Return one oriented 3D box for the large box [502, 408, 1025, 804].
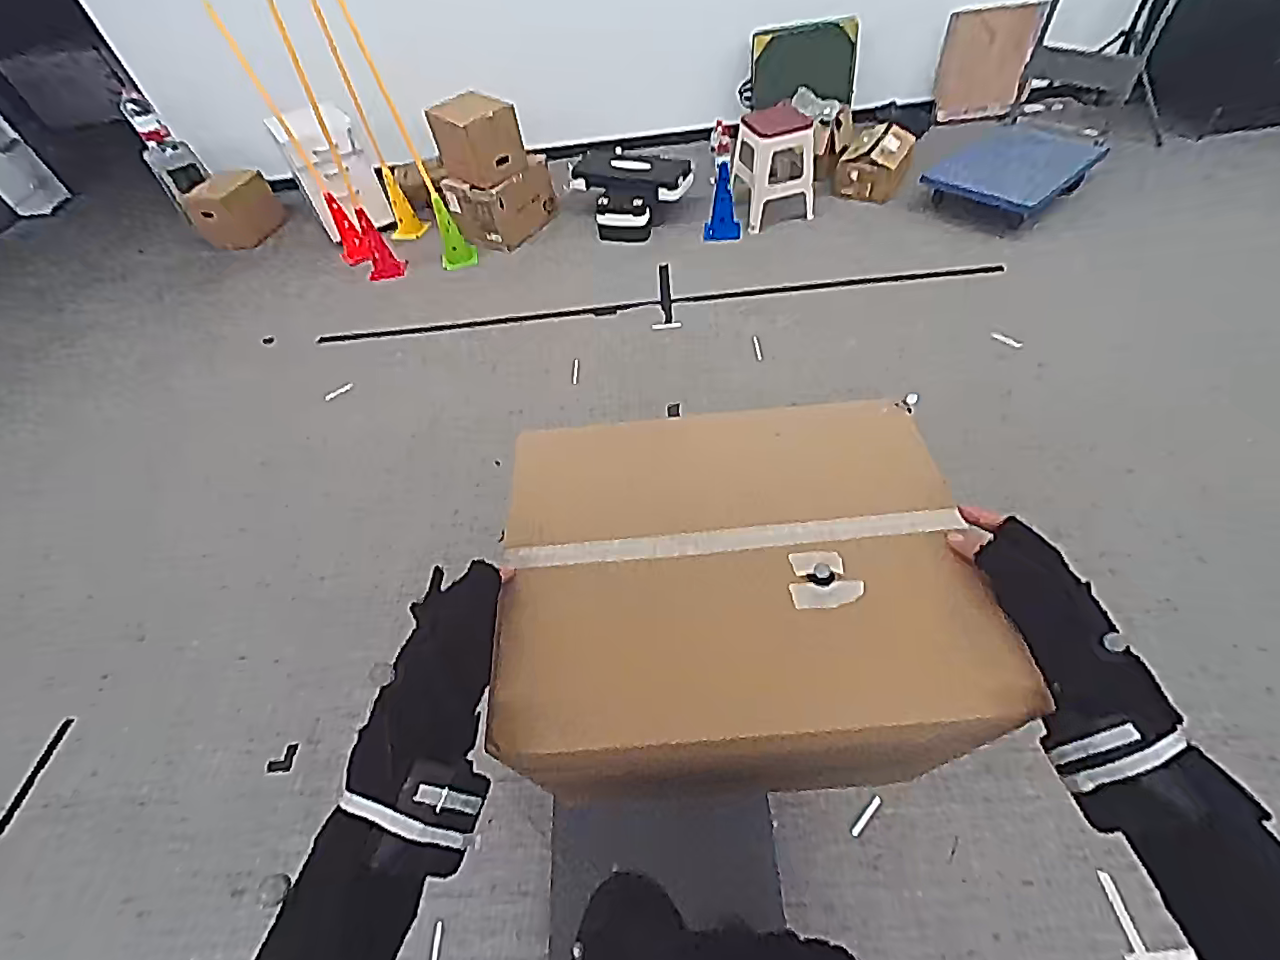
[{"bbox_3d":[0.090,0.152,0.609,0.408,0.320,0.320,-5,53,1],"label":"large box"}]
